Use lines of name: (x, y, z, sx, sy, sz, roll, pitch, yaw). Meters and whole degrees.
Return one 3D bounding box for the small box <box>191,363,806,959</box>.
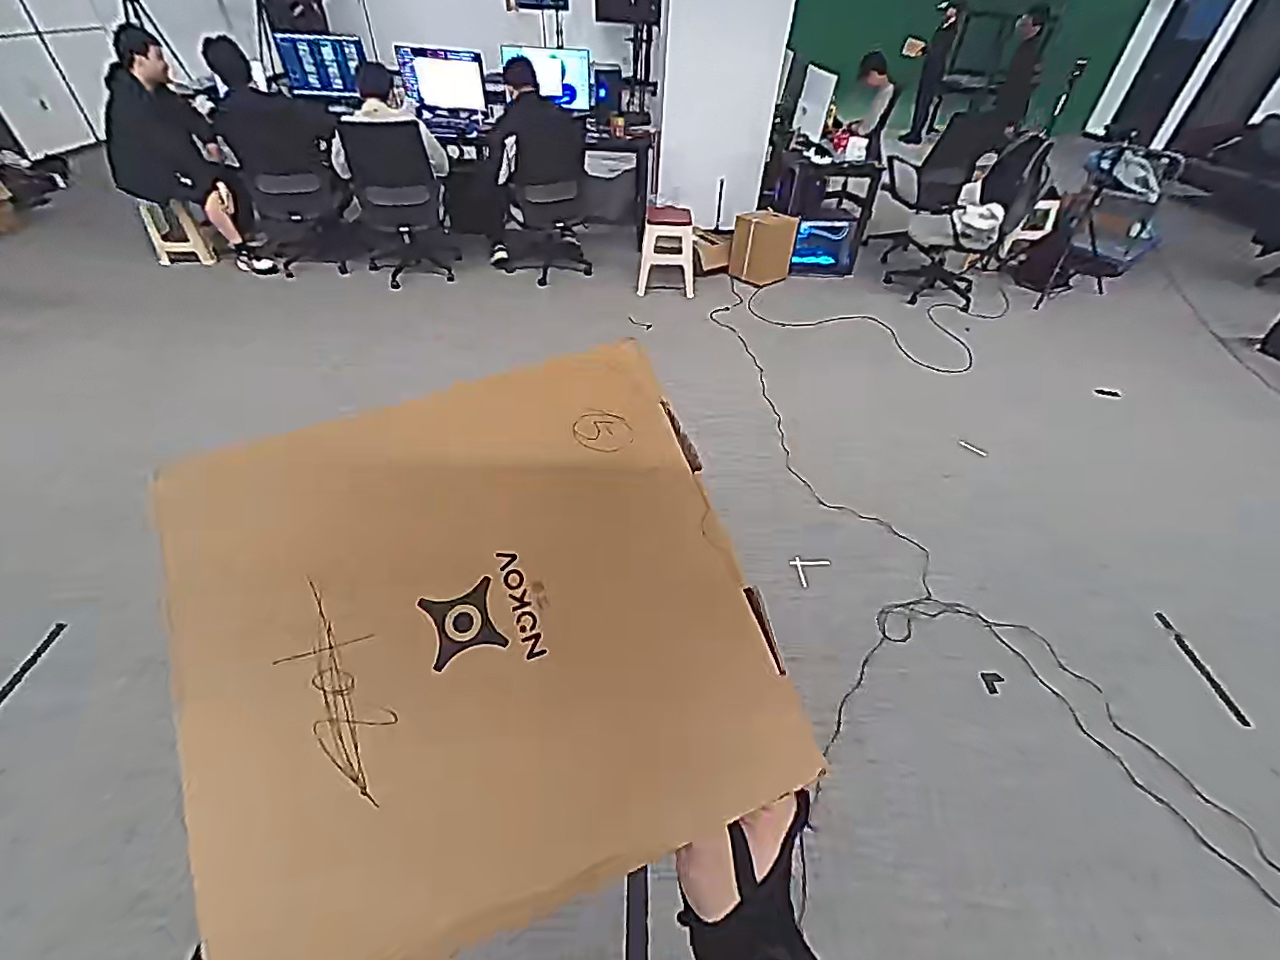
small box: (-0.057, 0.076, 0.261, 0.179, 0.176, 0.168, -20, 73, -9)
